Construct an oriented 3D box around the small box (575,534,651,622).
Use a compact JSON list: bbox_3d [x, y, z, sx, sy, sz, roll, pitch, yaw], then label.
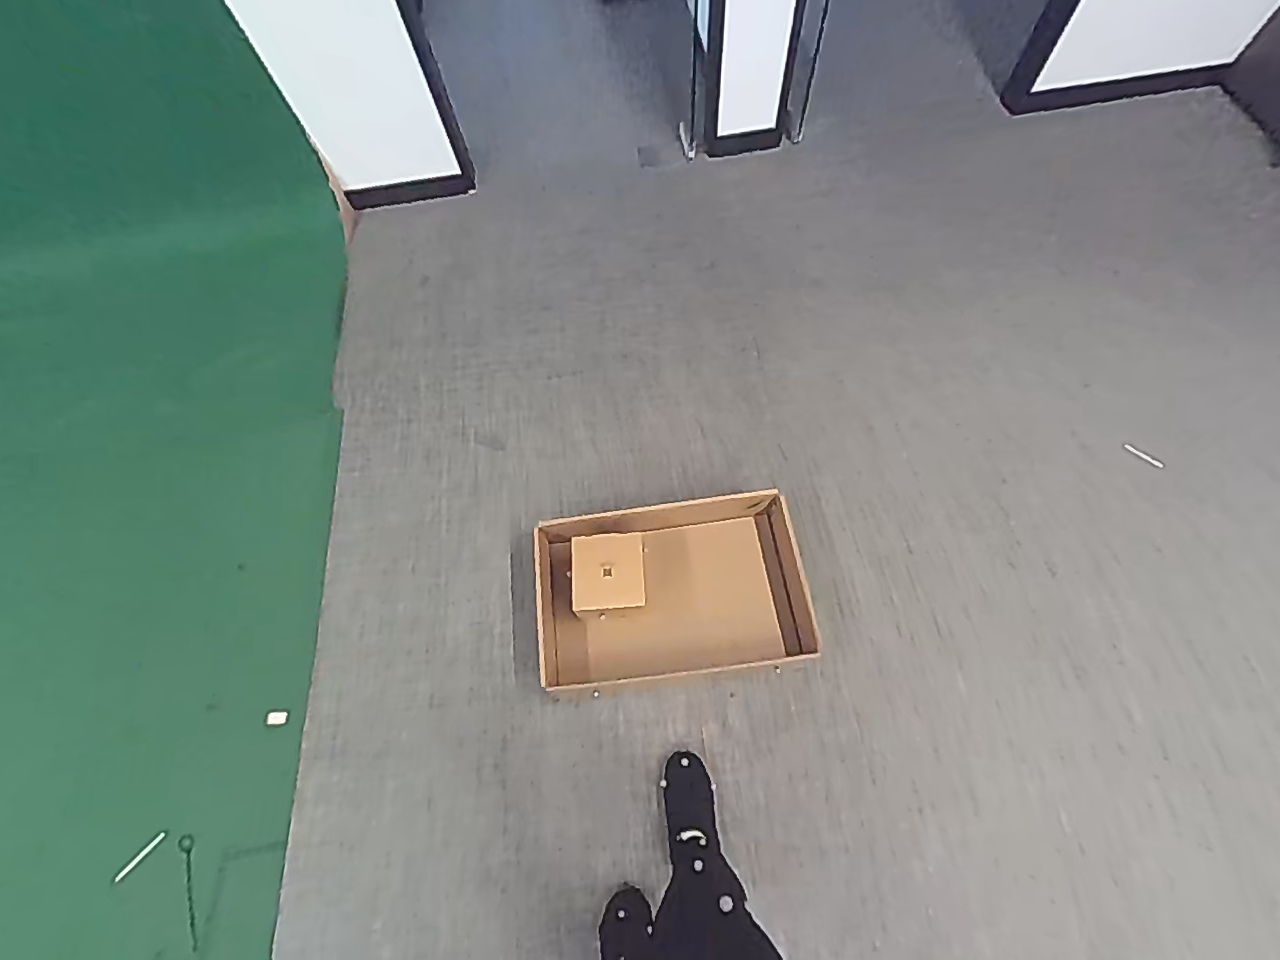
[{"bbox_3d":[-0.063,0.242,1.307,0.168,0.176,0.179,-4,65,2],"label":"small box"}]
